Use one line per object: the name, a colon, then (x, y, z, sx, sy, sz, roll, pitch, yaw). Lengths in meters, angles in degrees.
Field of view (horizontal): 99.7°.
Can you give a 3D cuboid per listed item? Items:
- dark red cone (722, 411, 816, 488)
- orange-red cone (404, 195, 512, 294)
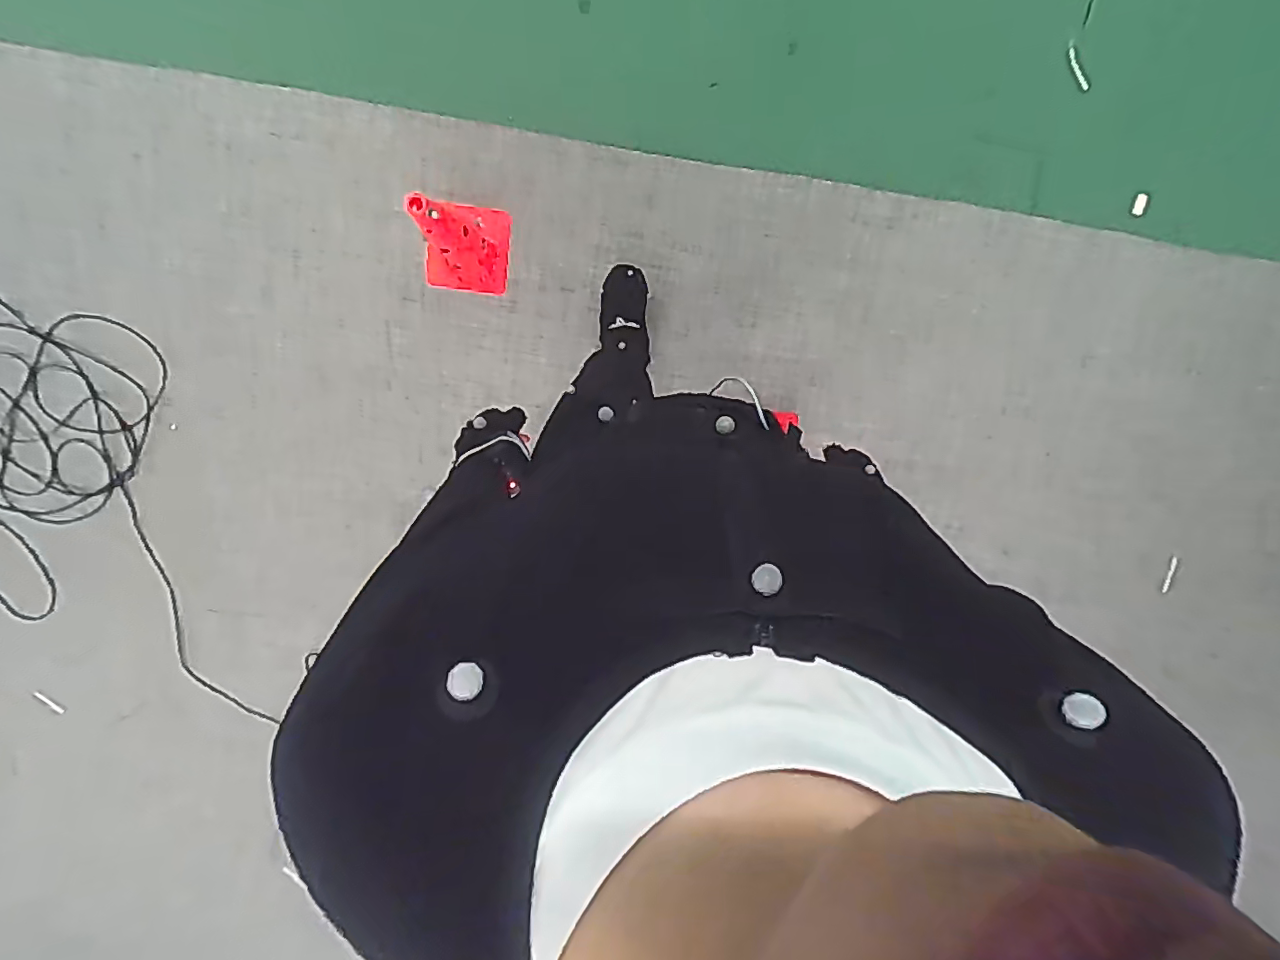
dark red cone: (0.327, -0.052, 1.263, 0.202, 0.394, 0.201, 2, 100, -3)
orange-red cone: (-0.417, -0.536, 1.163, 0.198, 0.360, 0.199, 8, 102, -3)
